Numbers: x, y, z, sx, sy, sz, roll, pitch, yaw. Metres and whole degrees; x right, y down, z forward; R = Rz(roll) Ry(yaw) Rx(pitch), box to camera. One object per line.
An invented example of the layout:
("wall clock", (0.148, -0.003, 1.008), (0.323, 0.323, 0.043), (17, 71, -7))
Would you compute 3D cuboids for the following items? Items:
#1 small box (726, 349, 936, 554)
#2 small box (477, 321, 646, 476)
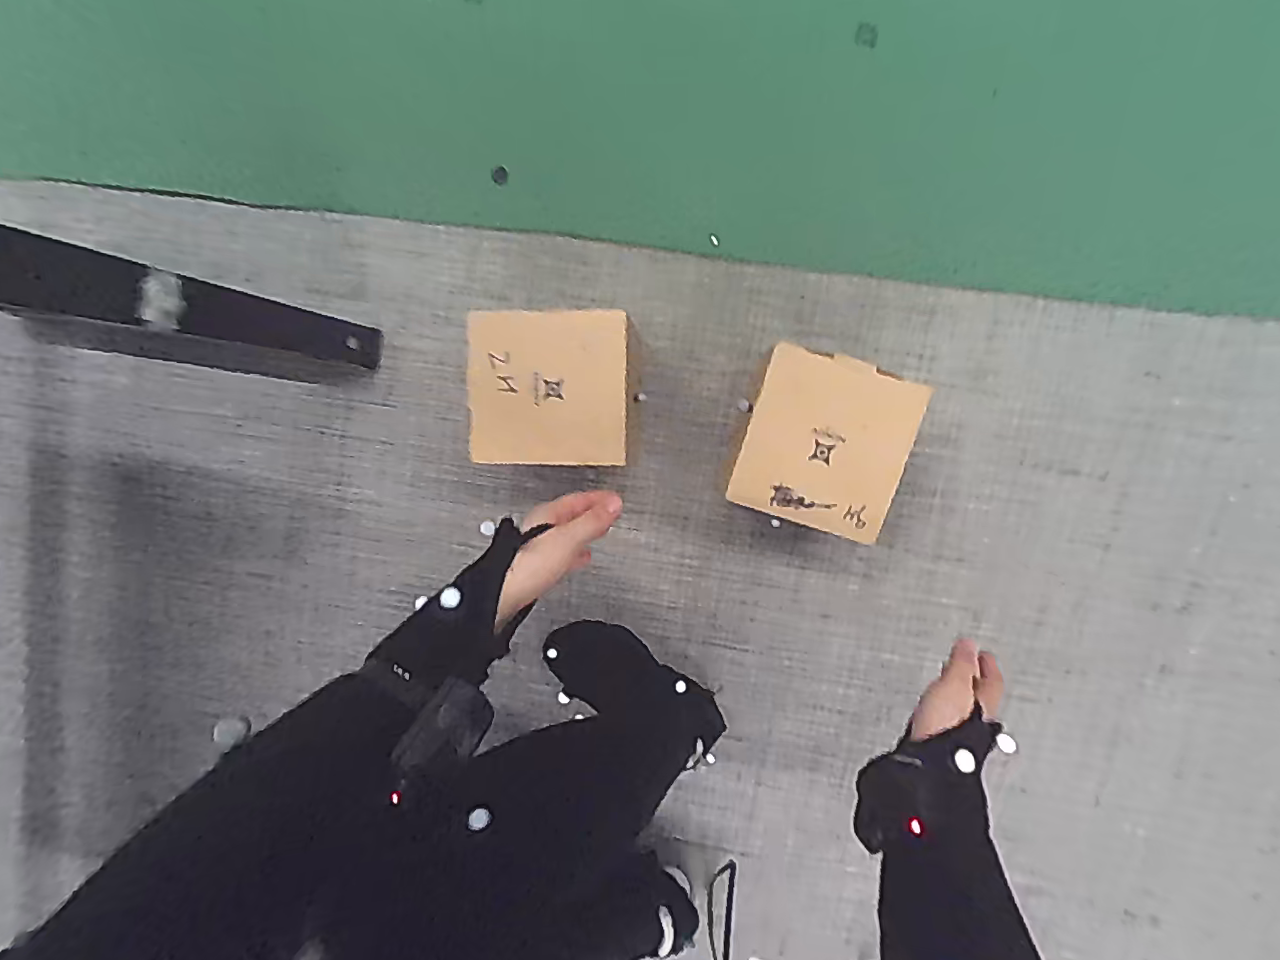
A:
("small box", (0.205, -0.036, 0.639), (0.168, 0.176, 0.179), (18, 97, 3))
("small box", (-0.084, -0.096, 0.663), (0.179, 0.176, 0.168), (1, 95, 6))
